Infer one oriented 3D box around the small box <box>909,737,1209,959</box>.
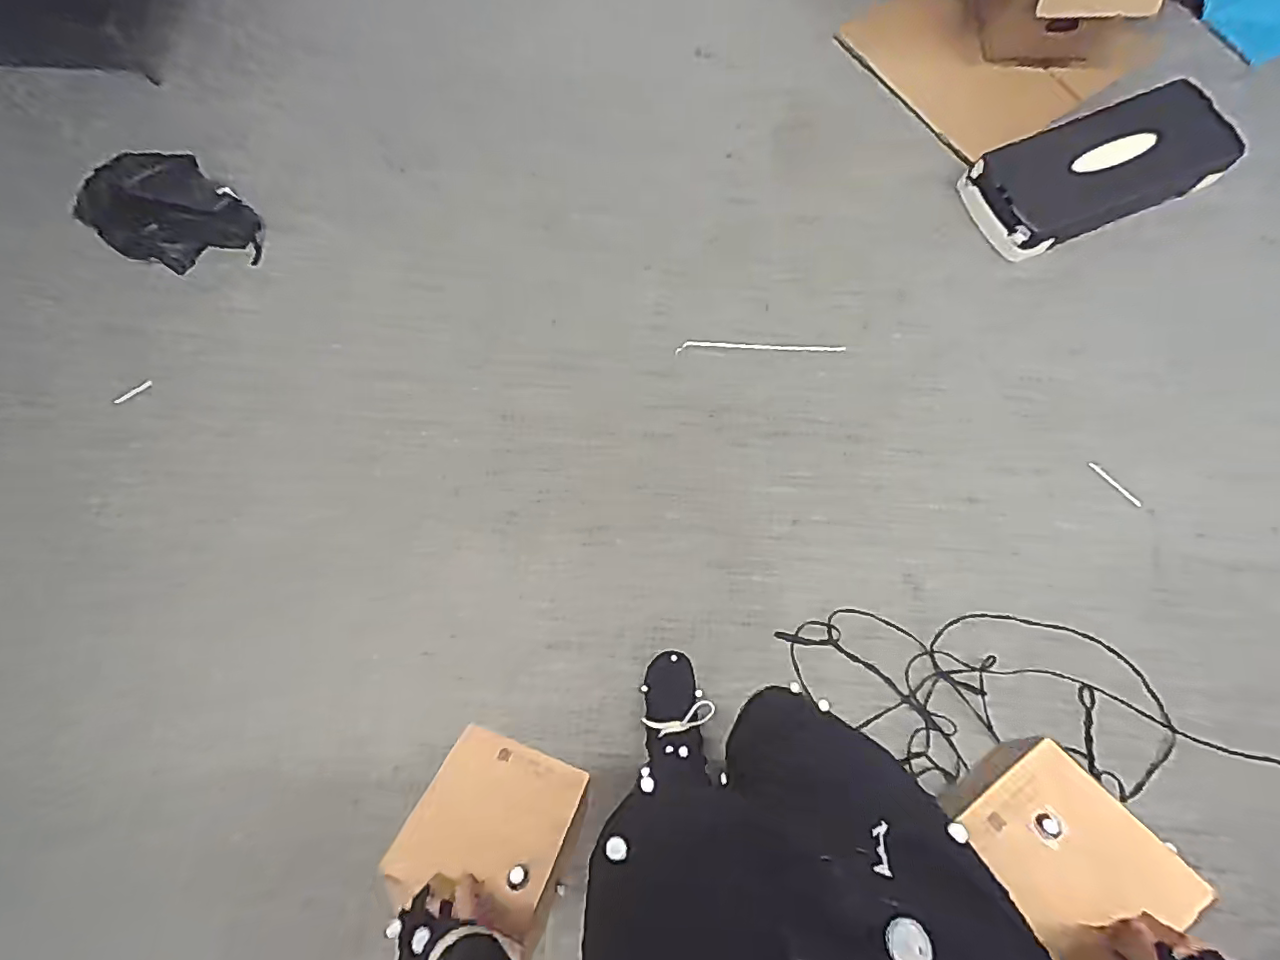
[{"bbox_3d":[0.428,0.407,0.595,0.168,0.179,0.176,-39,60,-3],"label":"small box"}]
